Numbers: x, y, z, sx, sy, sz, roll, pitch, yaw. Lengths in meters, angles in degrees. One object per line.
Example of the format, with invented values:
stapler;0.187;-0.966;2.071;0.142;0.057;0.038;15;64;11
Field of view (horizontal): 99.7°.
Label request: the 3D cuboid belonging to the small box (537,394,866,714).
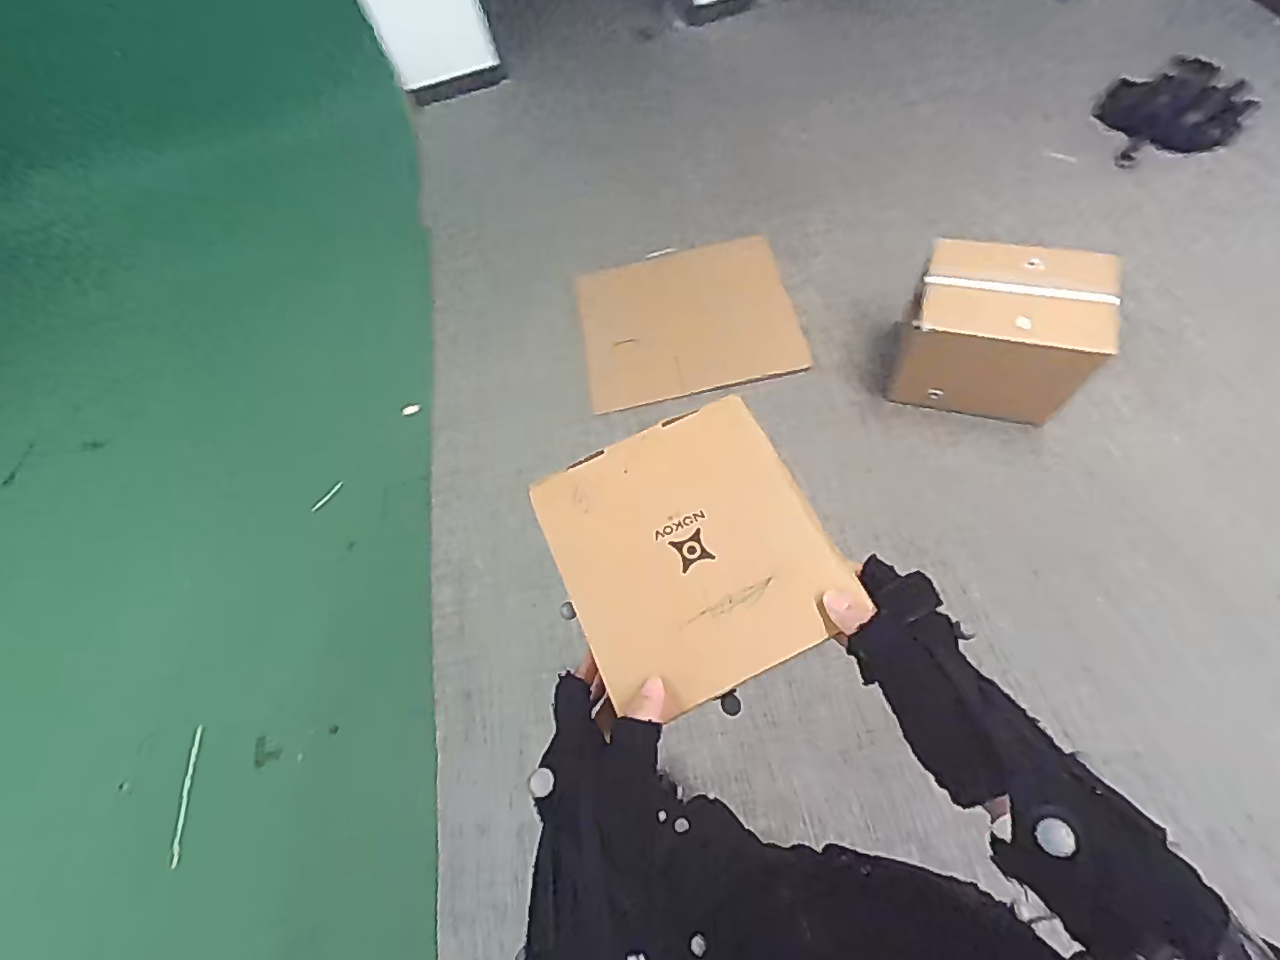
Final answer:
small box;0.038;0.069;0.429;0.168;0.176;0.179;-24;67;-5
